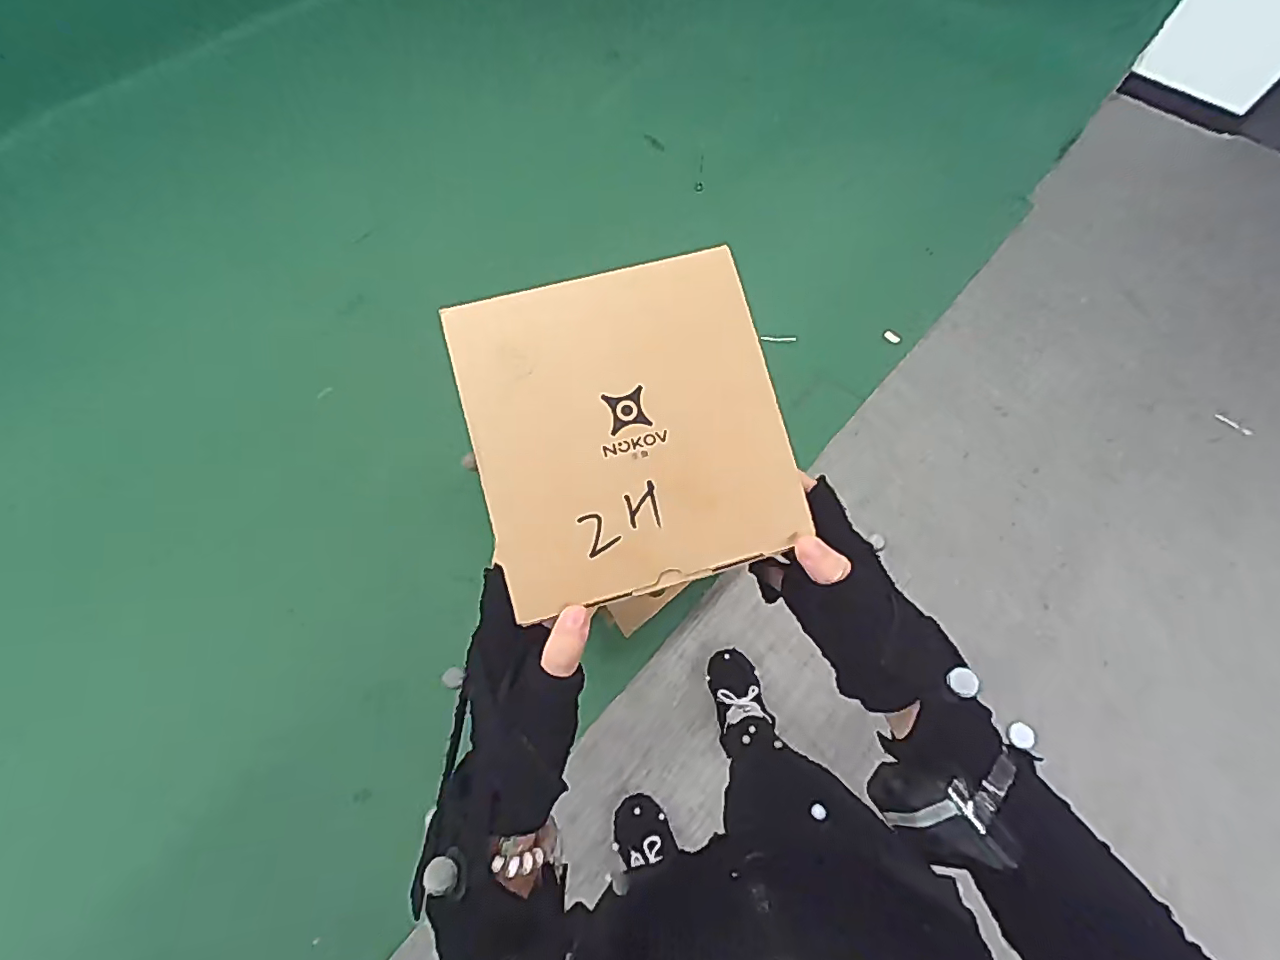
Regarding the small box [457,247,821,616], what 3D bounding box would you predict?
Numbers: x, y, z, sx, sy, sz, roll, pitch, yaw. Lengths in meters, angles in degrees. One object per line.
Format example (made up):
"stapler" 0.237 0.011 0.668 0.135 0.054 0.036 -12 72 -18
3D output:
"small box" -0.007 -0.022 0.369 0.168 0.176 0.179 -15 85 -5
